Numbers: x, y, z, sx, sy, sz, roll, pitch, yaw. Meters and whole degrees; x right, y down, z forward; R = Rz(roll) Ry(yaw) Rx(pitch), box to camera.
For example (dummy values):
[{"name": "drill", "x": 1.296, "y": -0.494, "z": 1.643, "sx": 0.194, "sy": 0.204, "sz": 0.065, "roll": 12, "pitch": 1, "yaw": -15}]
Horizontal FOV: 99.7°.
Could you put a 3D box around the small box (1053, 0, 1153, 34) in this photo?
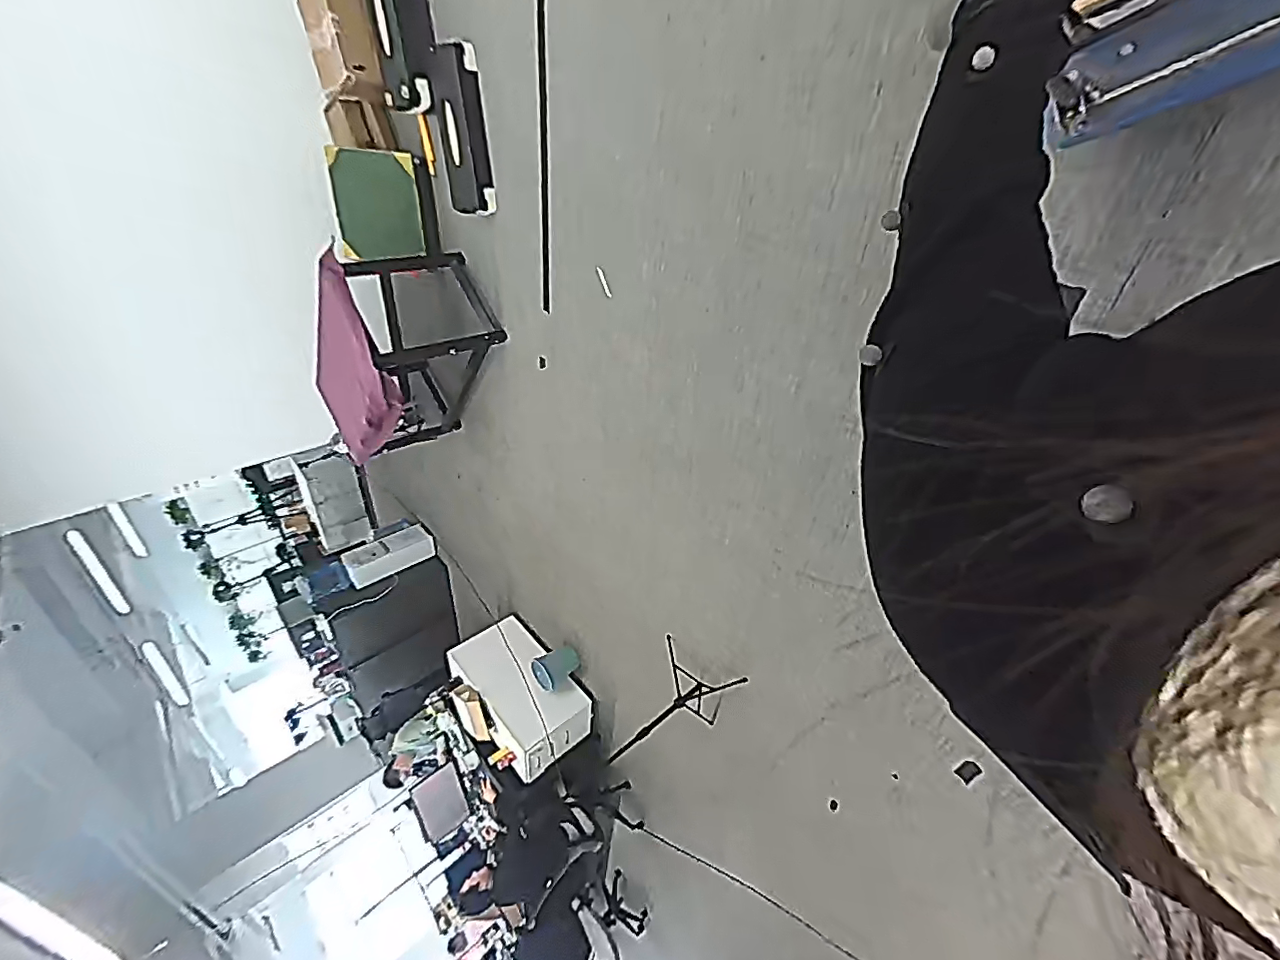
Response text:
[{"name": "small box", "x": 0.699, "y": -0.780, "z": 0.768, "sx": 0.168, "sy": 0.176, "sz": 0.179, "roll": -7, "pitch": 104, "yaw": 51}]
